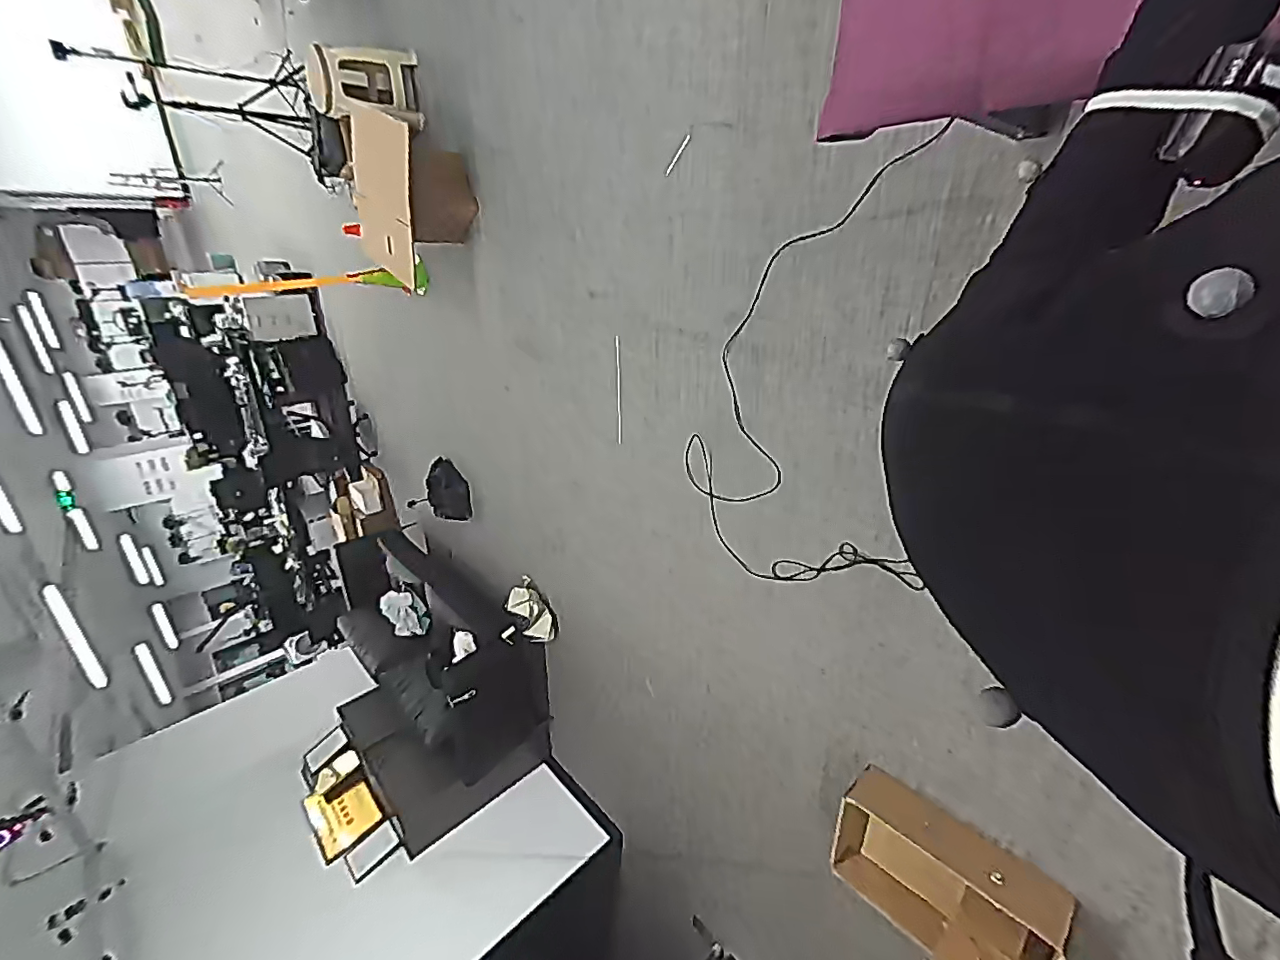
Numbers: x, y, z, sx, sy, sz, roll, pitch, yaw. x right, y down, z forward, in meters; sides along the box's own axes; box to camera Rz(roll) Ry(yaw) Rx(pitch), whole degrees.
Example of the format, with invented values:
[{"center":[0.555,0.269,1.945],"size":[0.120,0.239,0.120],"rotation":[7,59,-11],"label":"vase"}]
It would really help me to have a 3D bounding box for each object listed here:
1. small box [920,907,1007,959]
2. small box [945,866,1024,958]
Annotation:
[{"center":[0.901,1.373,1.521],"size":[0.168,0.176,0.179],"rotation":[23,124,42],"label":"small box"},{"center":[1.020,1.322,1.621],"size":[0.168,0.176,0.179],"rotation":[24,125,41],"label":"small box"}]
